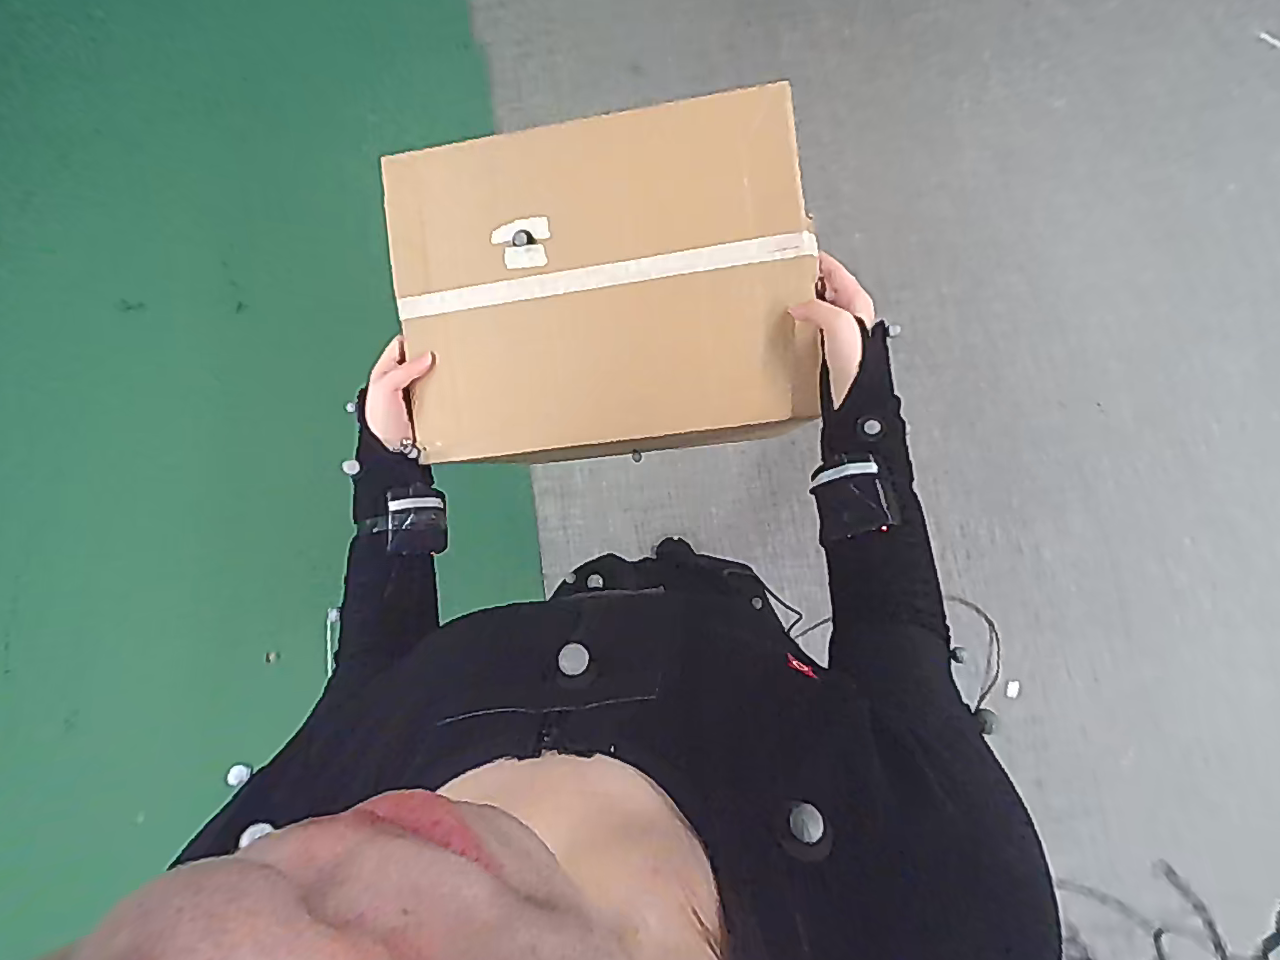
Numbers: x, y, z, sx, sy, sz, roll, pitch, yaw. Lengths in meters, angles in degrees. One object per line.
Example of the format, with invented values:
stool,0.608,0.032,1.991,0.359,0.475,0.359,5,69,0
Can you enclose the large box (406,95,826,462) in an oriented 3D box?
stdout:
large box,-0.013,-0.196,0.685,0.408,0.320,0.320,-6,90,8
